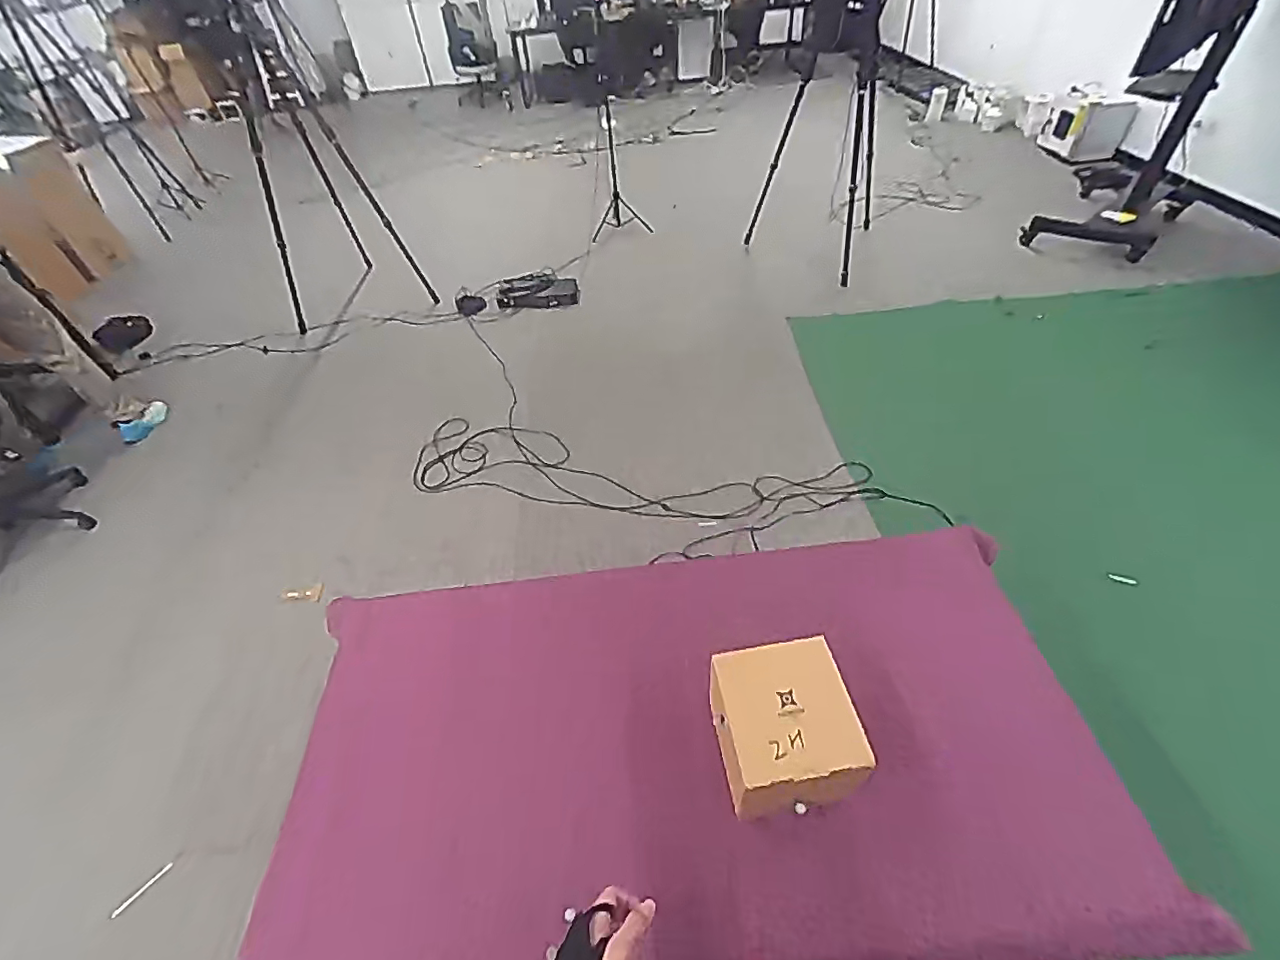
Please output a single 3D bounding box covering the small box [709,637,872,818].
[{"bbox_3d":[0.195,0.350,0.765,0.168,0.176,0.179,-9,47,-2],"label":"small box"}]
